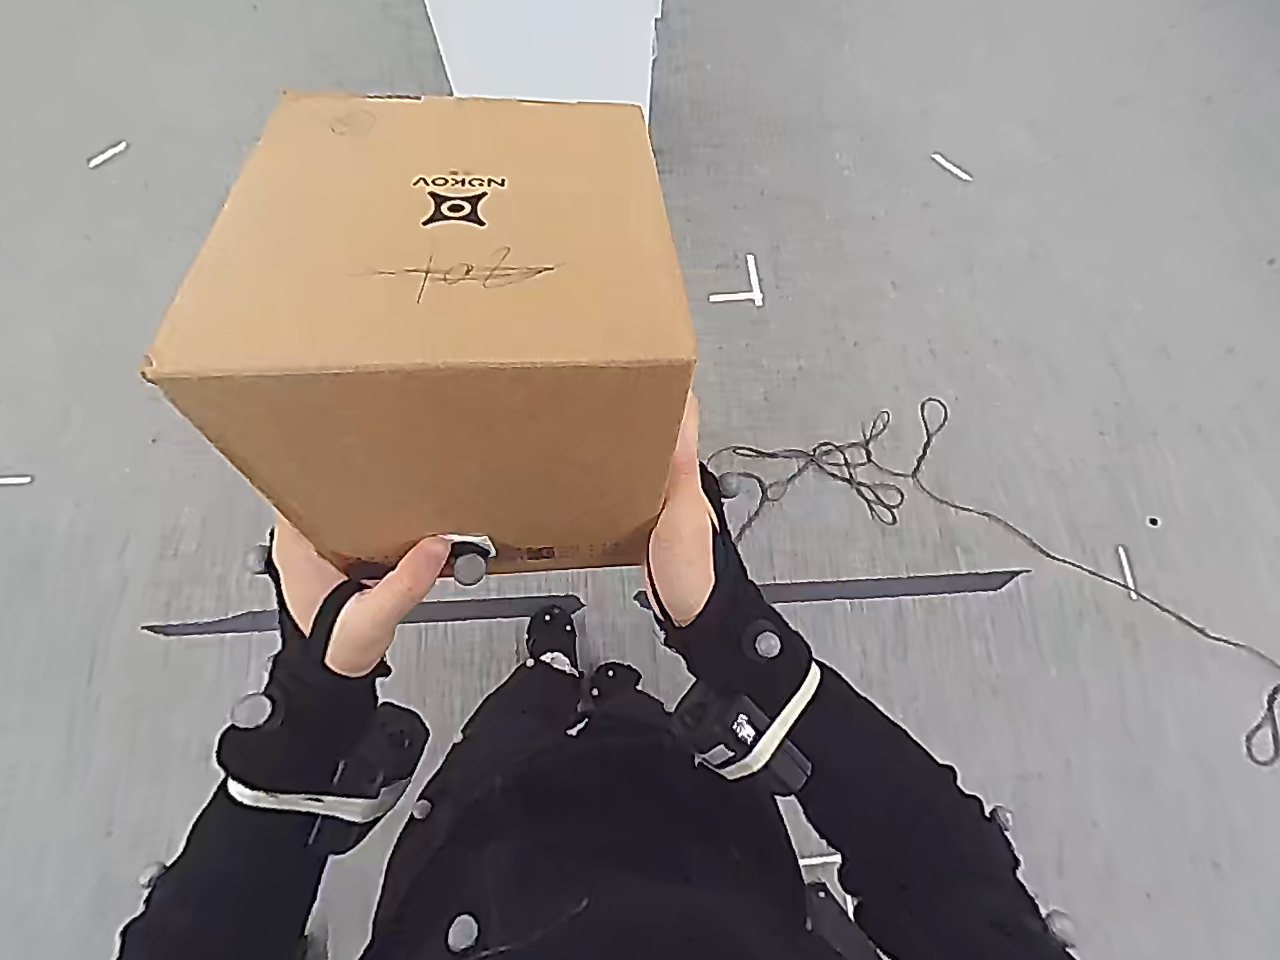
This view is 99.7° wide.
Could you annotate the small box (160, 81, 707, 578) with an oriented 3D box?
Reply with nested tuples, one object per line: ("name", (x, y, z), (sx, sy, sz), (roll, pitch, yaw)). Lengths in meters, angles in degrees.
("small box", (-0.074, -0.066, 0.276), (0.168, 0.176, 0.179), (-4, 59, -7))
